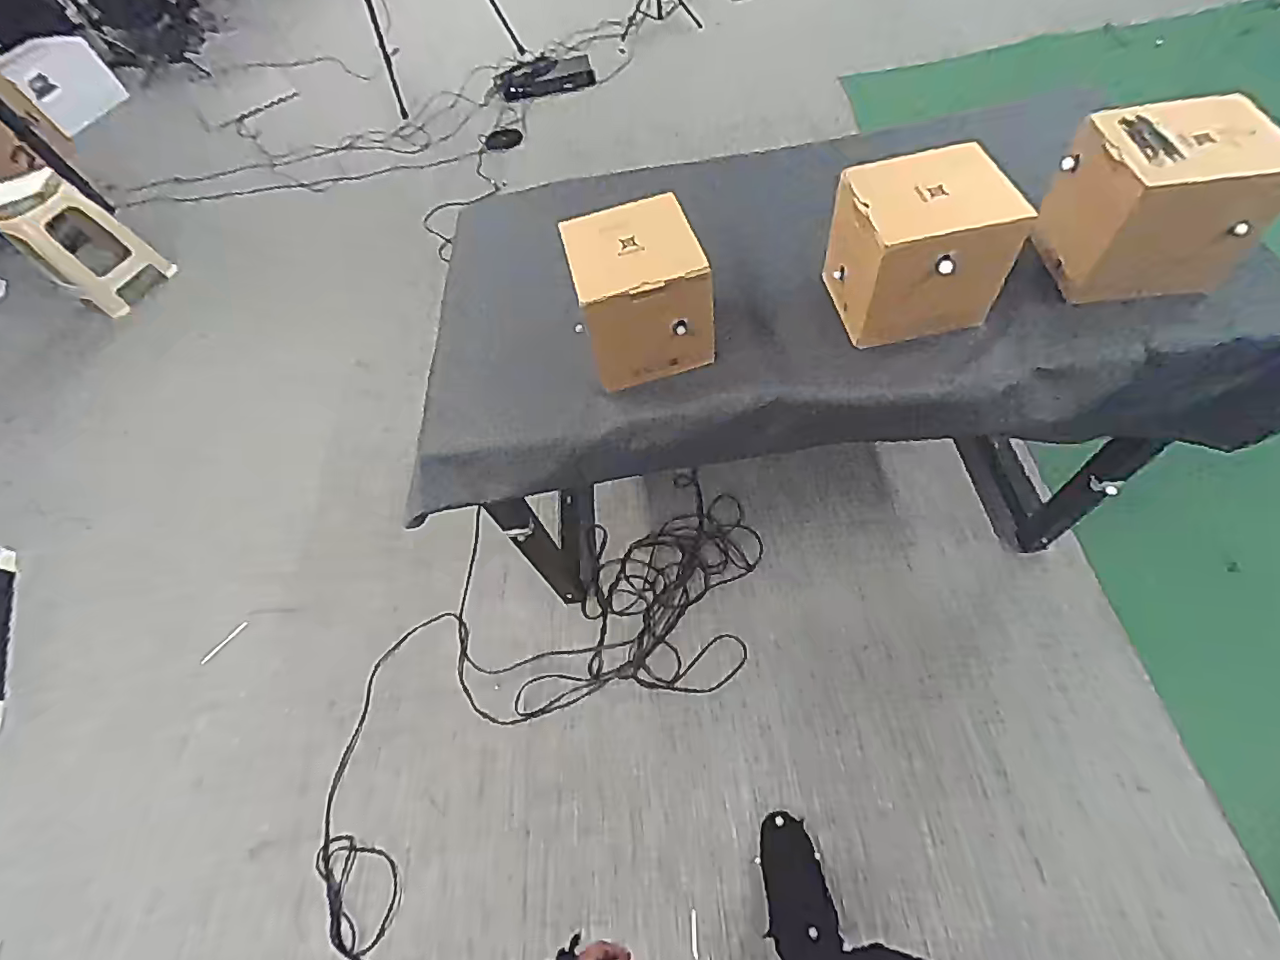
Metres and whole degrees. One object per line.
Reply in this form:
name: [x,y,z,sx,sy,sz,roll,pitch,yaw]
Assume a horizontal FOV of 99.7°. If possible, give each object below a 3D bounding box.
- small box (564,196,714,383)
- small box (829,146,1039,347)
small box: [0.003,-0.257,0.760,0.168,0.176,0.179,-15,56,-2]
small box: [0.373,-0.306,0.727,0.179,0.176,0.168,-10,58,5]
